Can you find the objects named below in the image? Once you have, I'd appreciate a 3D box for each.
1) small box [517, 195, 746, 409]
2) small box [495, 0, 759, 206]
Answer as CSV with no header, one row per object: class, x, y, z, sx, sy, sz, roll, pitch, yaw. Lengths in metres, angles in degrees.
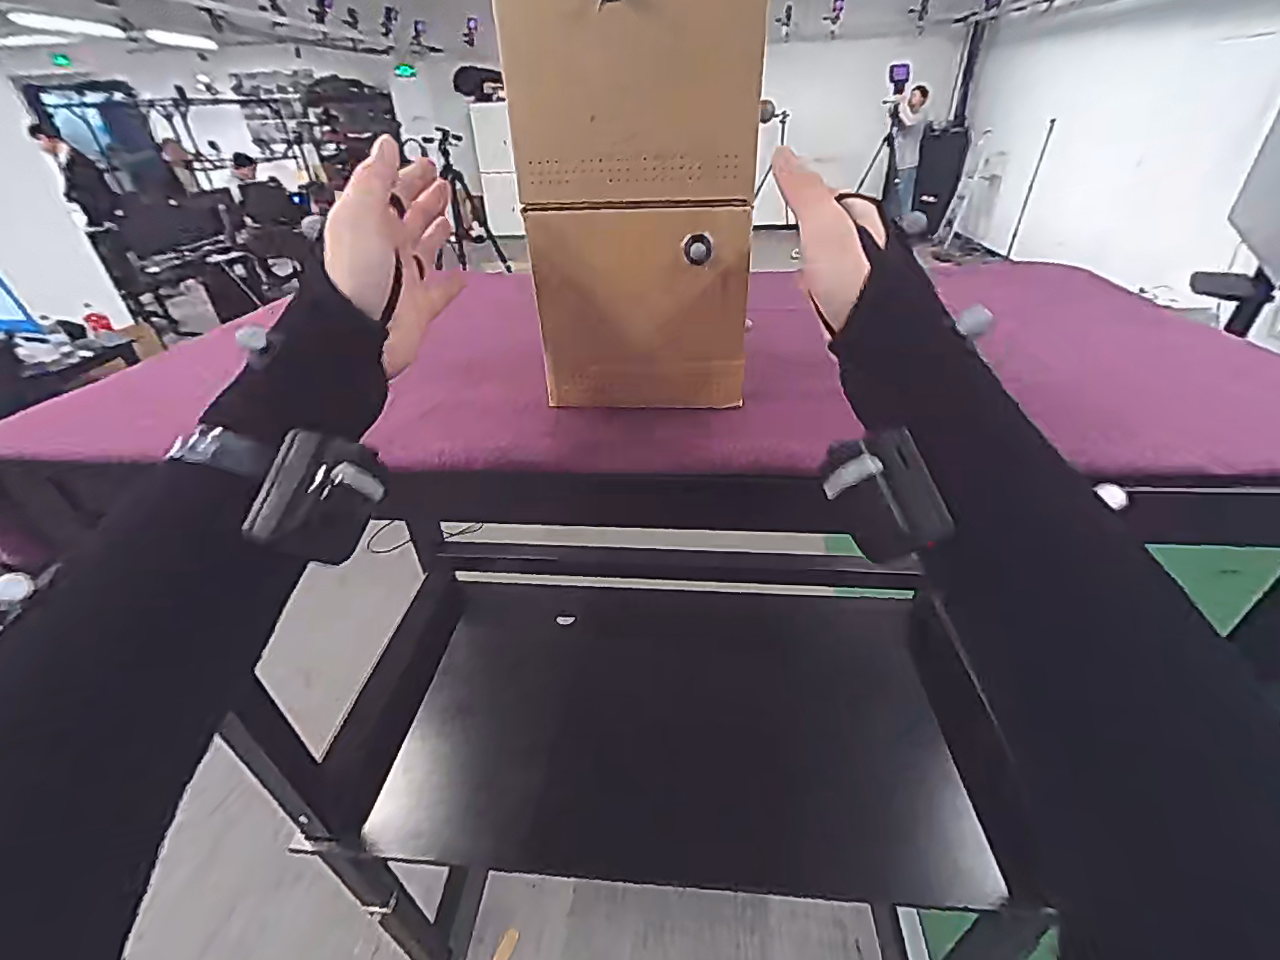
small box,0.002,-0.175,0.509,0.179,0.176,0.168,1,34,5
small box,-0.003,-0.313,0.419,0.179,0.176,0.168,2,34,6
